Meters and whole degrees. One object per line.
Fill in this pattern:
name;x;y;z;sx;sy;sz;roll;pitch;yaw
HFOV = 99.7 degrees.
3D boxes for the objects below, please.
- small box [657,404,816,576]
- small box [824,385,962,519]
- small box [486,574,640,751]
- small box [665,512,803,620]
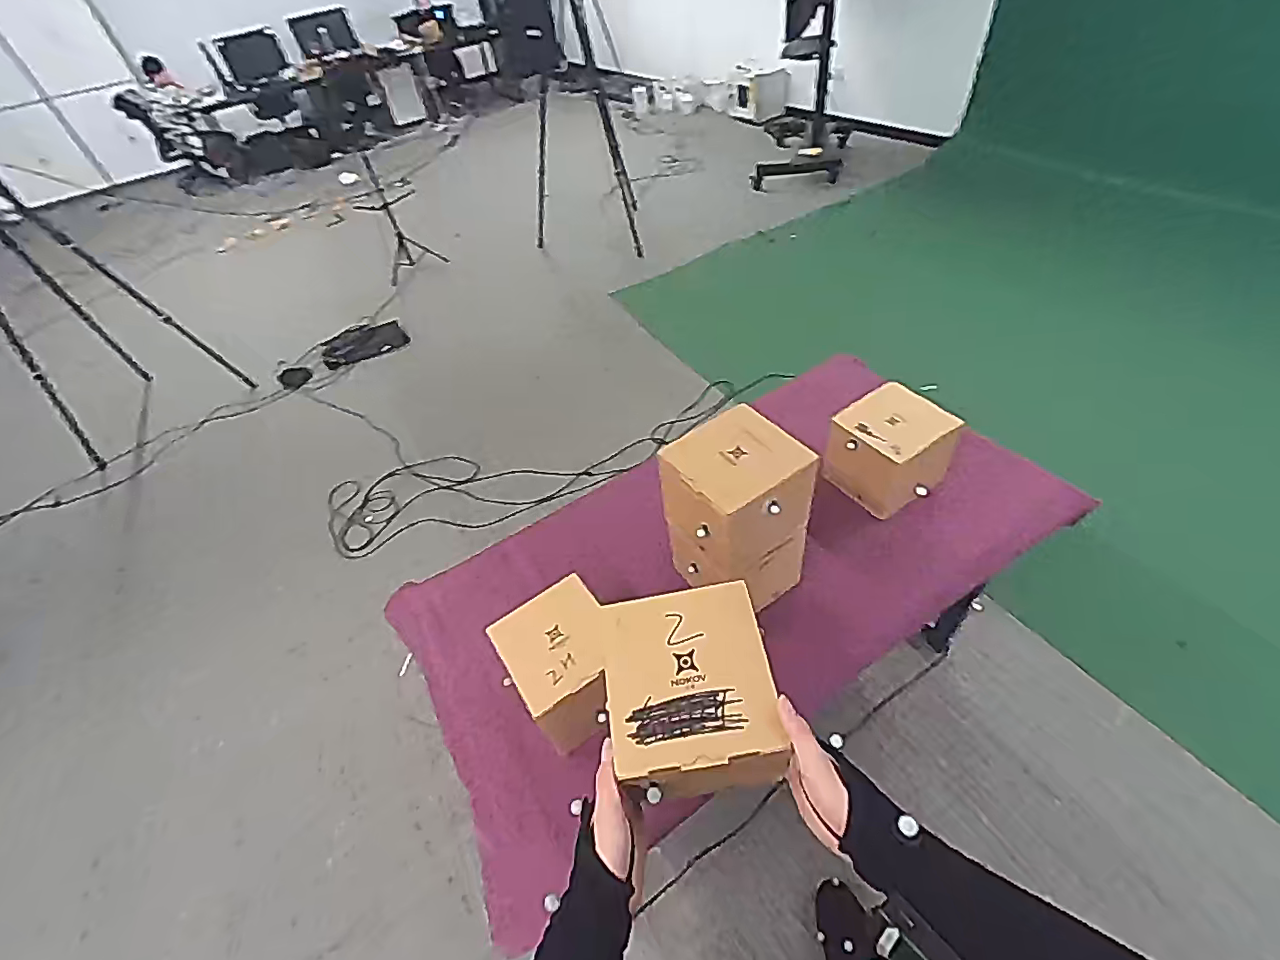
small box;0.149;0.018;0.851;0.179;0.176;0.168;-29;50;-18
small box;0.494;-0.056;1.086;0.179;0.176;0.168;-29;49;-17
small box;-0.118;0.292;0.863;0.168;0.176;0.179;-31;50;-18
small box;0.167;0.126;0.972;0.168;0.176;0.179;-30;49;-18
